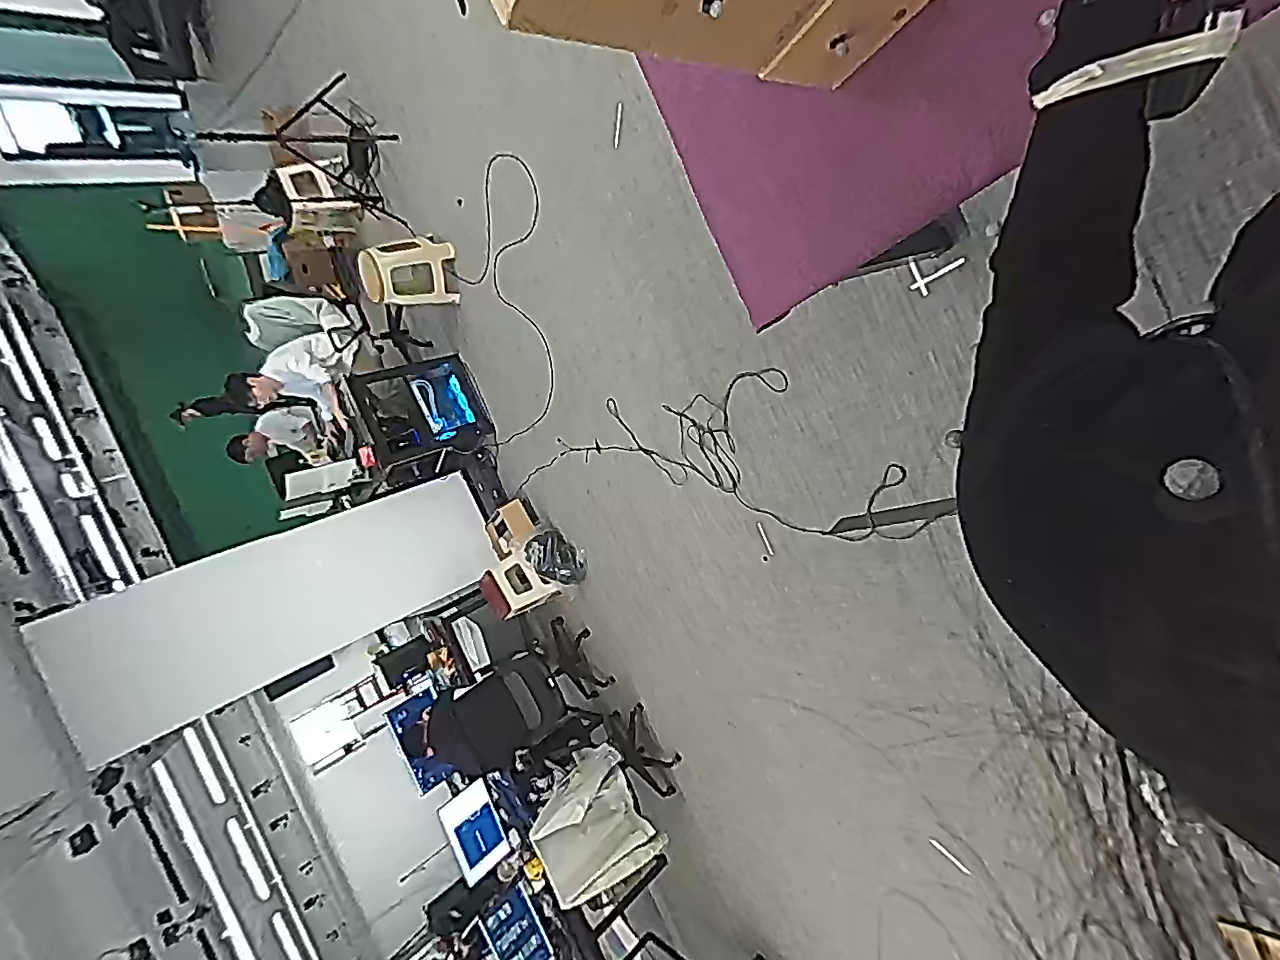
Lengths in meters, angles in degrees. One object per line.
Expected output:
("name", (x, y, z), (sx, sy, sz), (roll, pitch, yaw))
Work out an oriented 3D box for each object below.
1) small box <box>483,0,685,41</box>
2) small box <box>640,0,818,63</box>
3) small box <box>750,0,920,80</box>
("small box", (-0.039, -0.470, 0.394), (0.168, 0.176, 0.179), (-20, 95, 54))
("small box", (0.080, -0.528, 0.493), (0.168, 0.176, 0.179), (-21, 92, 55))
("small box", (0.203, -0.578, 0.589), (0.168, 0.176, 0.179), (-20, 94, 54))
